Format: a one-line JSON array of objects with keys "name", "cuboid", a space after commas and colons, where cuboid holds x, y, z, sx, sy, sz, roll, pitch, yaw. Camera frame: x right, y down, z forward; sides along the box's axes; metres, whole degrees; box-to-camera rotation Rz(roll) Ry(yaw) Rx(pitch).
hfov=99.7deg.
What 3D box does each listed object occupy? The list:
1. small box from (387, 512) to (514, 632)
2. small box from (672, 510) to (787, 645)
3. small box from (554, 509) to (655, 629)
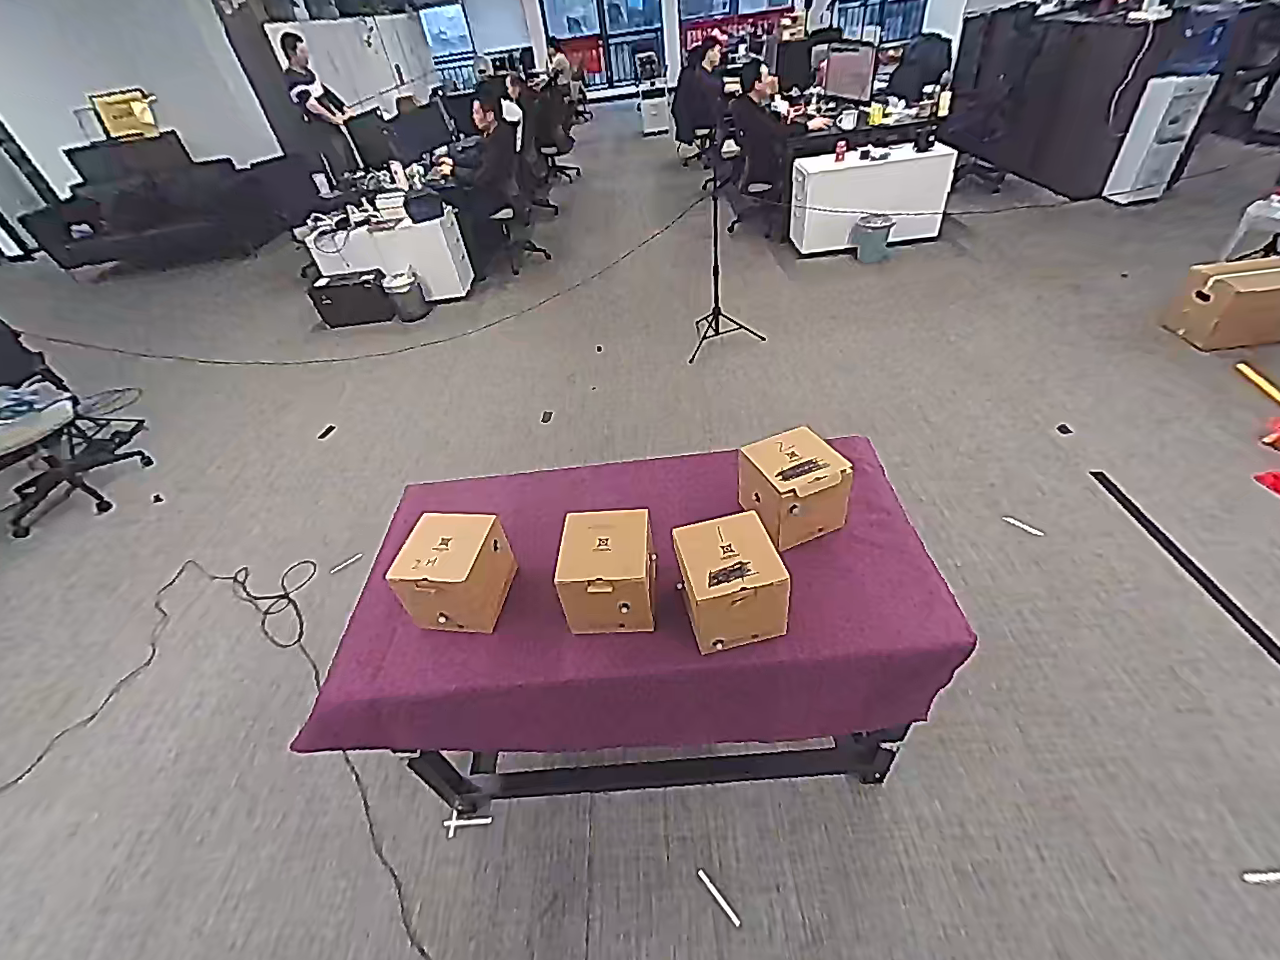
[{"name": "small box", "cuboid": [-0.374, 0.186, 1.107, 0.168, 0.176, 0.179, 1, 43, 11]}, {"name": "small box", "cuboid": [0.165, 0.188, 1.012, 0.168, 0.176, 0.179, -12, 40, -4]}, {"name": "small box", "cuboid": [-0.059, 0.179, 1.064, 0.168, 0.176, 0.179, -3, 41, 6]}]
